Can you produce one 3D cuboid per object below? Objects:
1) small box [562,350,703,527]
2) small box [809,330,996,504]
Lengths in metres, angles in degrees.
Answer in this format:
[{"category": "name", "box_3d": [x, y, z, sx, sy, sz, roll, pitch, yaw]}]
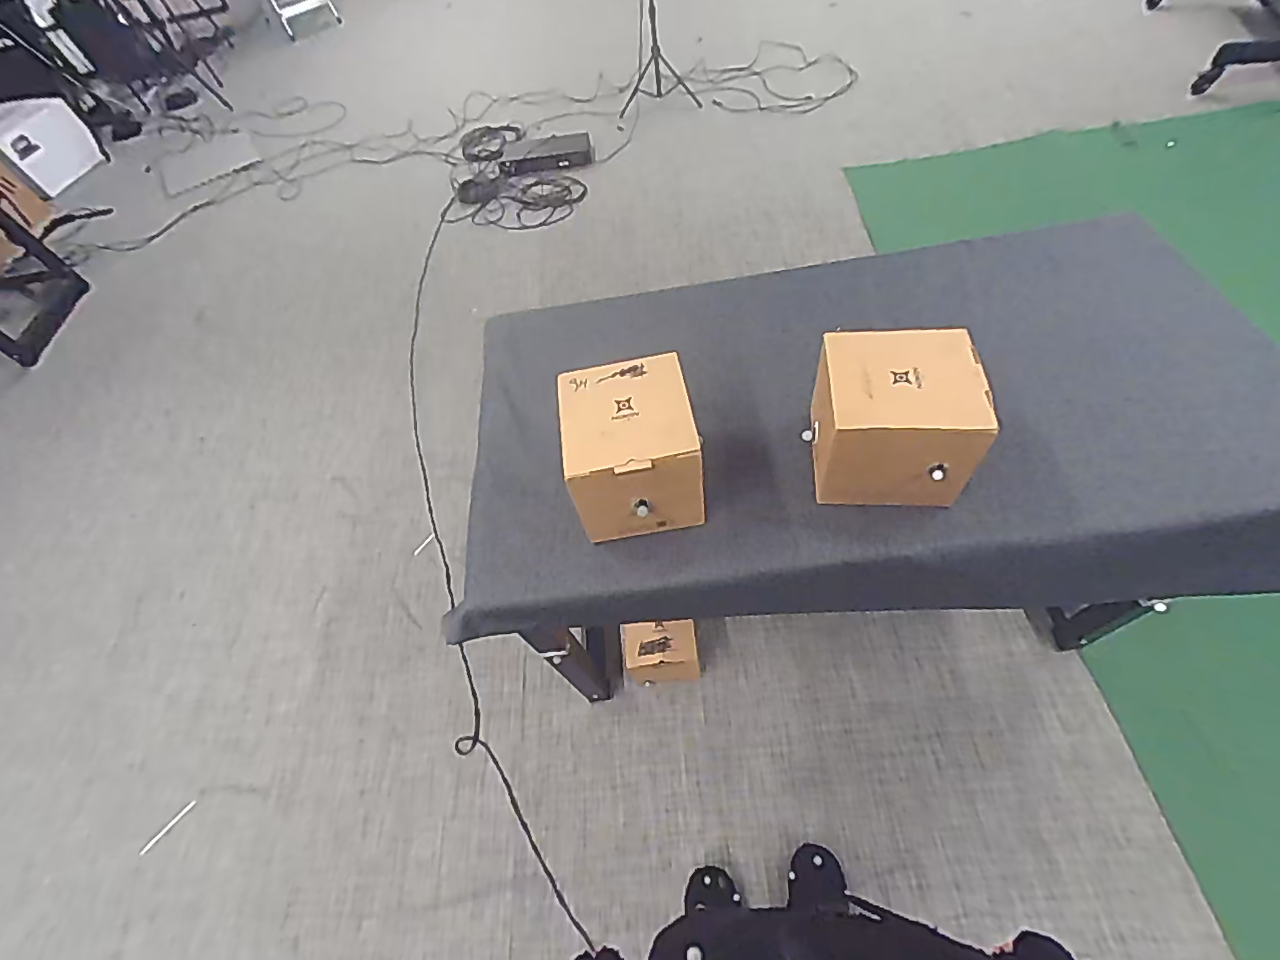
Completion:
[{"category": "small box", "box_3d": [-0.007, -0.048, 0.749, 0.168, 0.176, 0.179, -9, 56, 2]}, {"category": "small box", "box_3d": [0.331, -0.079, 0.722, 0.179, 0.176, 0.168, 1, 57, 10]}]
